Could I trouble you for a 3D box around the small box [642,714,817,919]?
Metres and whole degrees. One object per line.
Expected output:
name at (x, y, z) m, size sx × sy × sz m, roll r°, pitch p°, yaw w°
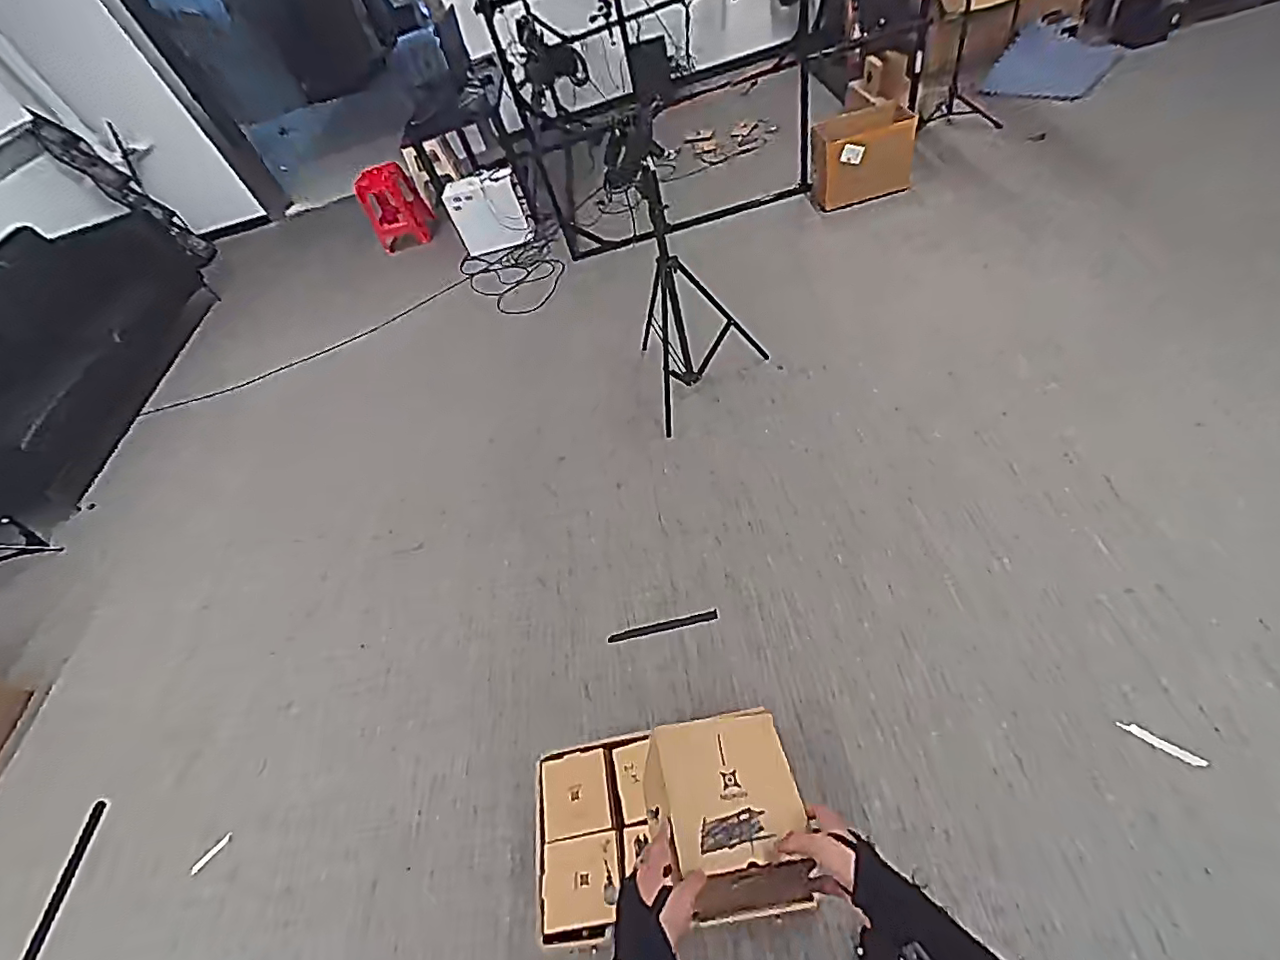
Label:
small box at (0.100, 0.436, 0.700) m, size 0.168 × 0.176 × 0.179 m, roll -2°, pitch 38°, yaw -11°
